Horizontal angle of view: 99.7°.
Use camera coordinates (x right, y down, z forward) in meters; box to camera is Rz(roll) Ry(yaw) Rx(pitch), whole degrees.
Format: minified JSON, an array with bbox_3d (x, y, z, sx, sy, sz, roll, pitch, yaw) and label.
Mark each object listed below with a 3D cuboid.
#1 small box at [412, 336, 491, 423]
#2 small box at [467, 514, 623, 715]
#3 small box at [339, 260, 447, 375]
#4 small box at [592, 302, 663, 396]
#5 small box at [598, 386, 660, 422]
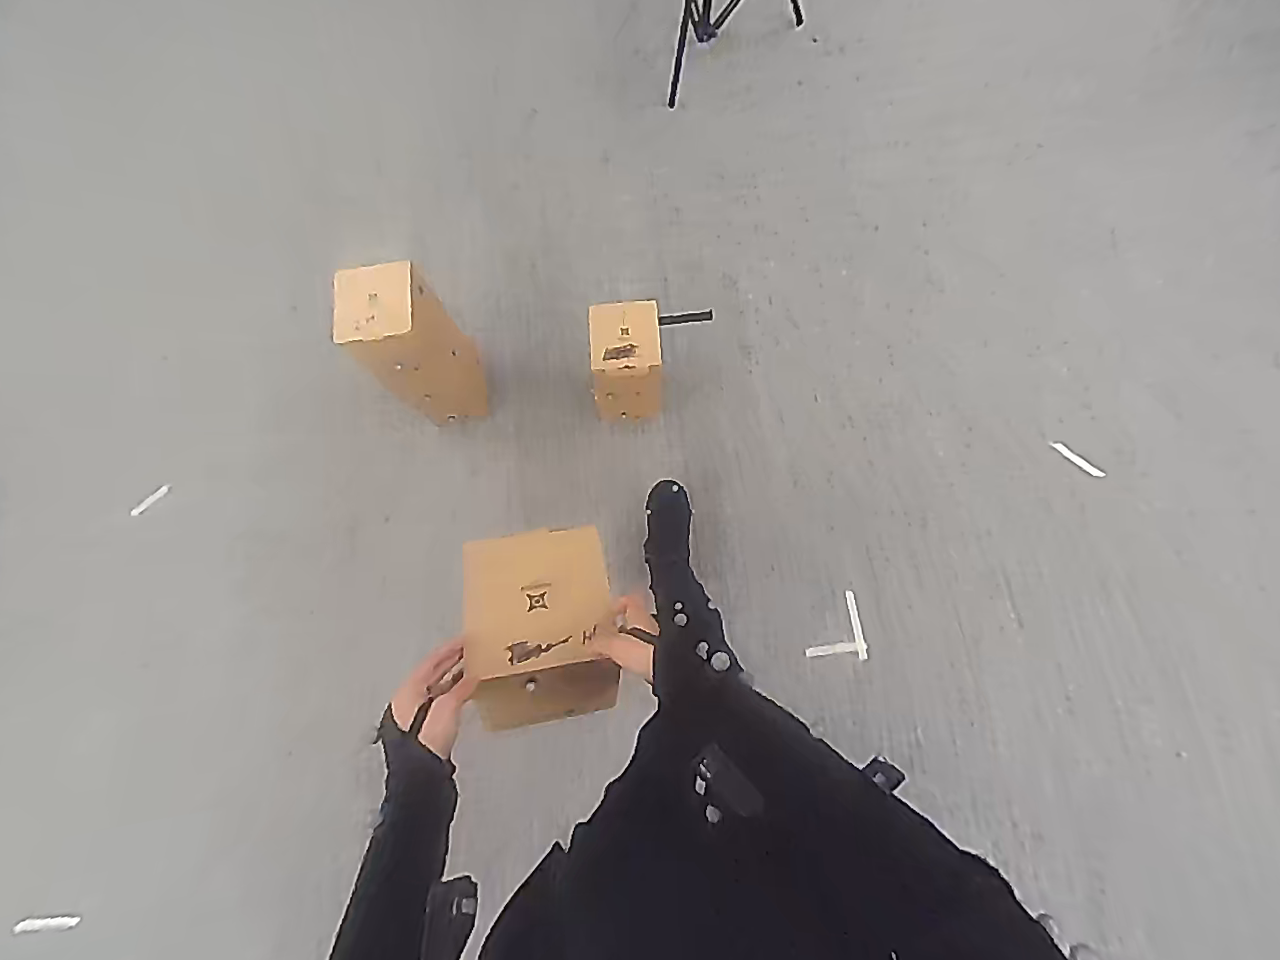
[{"bbox_3d":[-0.525,-0.278,1.520,0.168,0.176,0.179,-7,75,1],"label":"small box"},{"bbox_3d":[-0.121,0.167,0.679,0.168,0.176,0.179,-6,49,-11],"label":"small box"},{"bbox_3d":[-0.541,-0.356,1.202,0.168,0.176,0.179,-7,76,1],"label":"small box"},{"bbox_3d":[-0.028,-0.318,1.348,0.168,0.176,0.179,-4,75,0],"label":"small box"},{"bbox_3d":[-0.031,-0.275,1.506,0.168,0.176,0.179,-3,76,1],"label":"small box"}]
